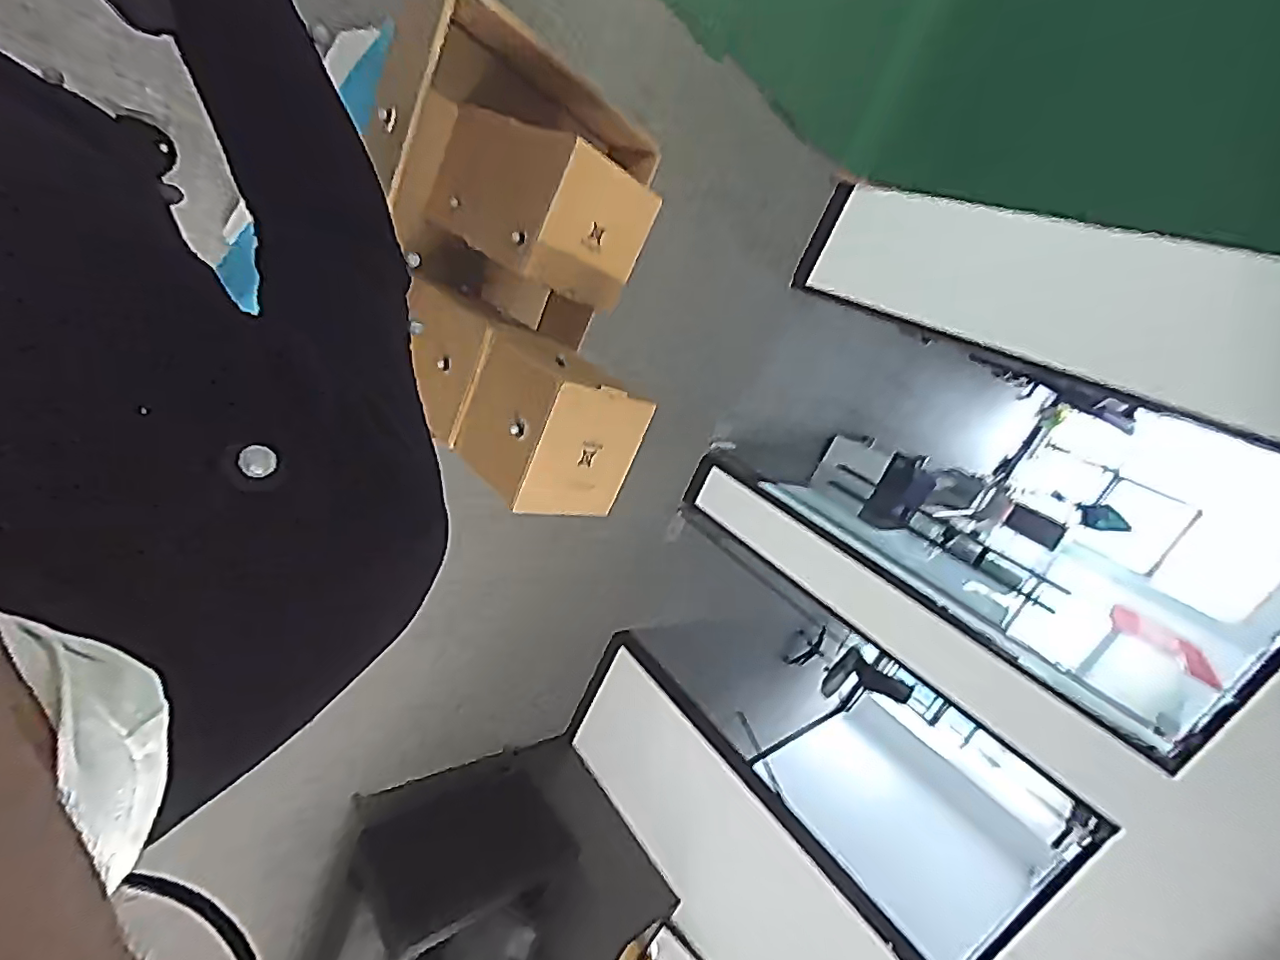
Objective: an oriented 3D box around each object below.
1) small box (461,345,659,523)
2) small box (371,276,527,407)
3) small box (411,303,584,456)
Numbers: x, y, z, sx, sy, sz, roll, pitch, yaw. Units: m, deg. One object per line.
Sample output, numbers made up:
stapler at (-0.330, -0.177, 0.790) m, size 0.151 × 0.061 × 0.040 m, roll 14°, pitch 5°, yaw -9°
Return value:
small box at (-0.113, -0.060, 0.721) m, size 0.168 × 0.176 × 0.179 m, roll 8°, pitch 113°, yaw -49°
small box at (-0.326, -0.220, 0.910) m, size 0.168 × 0.176 × 0.179 m, roll 9°, pitch 111°, yaw -49°
small box at (-0.221, -0.140, 0.814) m, size 0.168 × 0.176 × 0.179 m, roll 7°, pitch 112°, yaw -49°
